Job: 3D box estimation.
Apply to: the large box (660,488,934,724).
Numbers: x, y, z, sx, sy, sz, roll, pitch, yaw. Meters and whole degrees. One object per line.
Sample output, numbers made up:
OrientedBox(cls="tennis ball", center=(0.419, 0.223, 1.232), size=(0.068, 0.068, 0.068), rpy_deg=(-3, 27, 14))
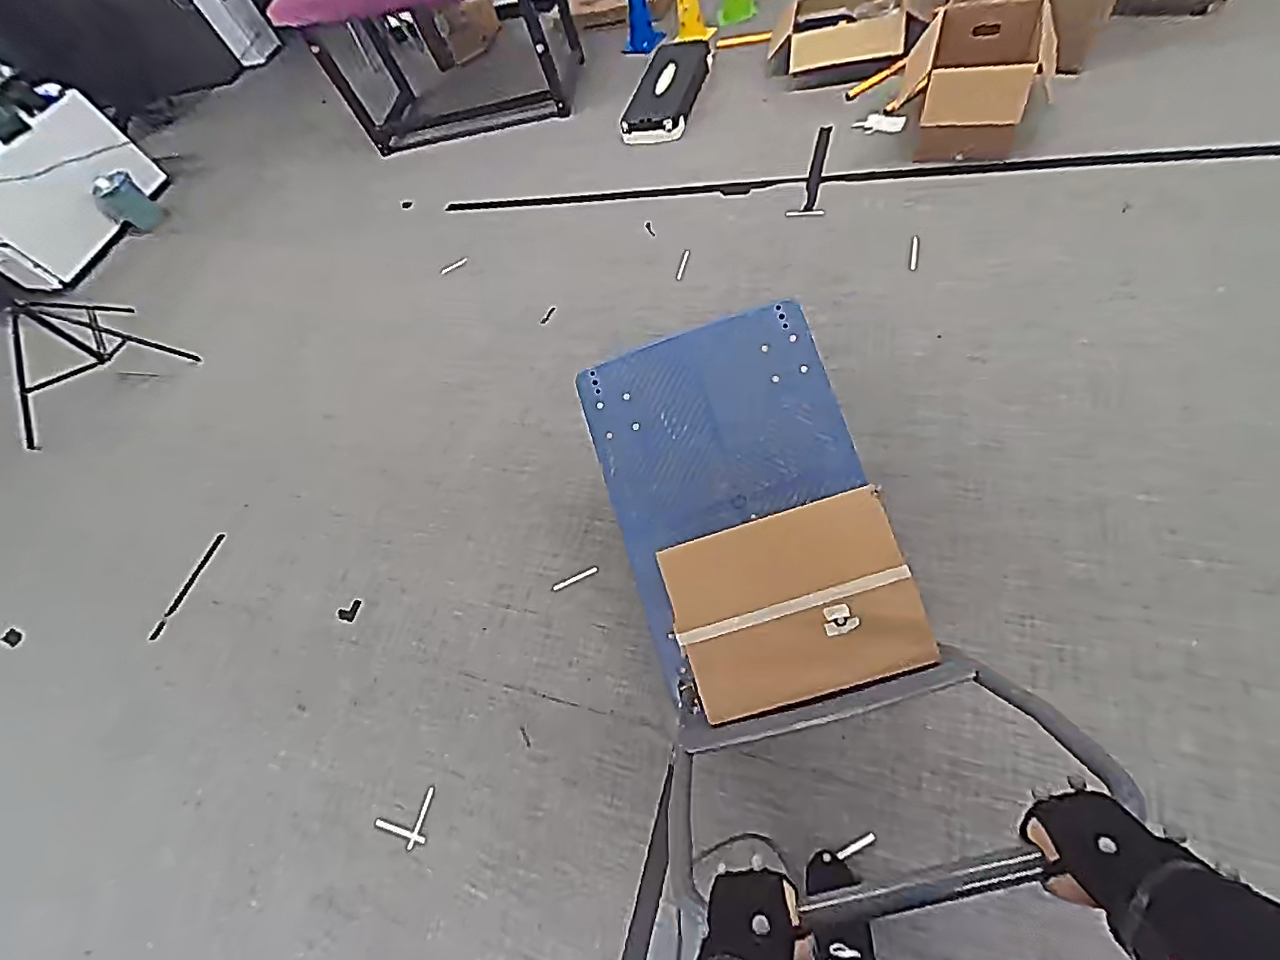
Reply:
OrientedBox(cls="large box", center=(0.285, 0.241, 1.099), size=(0.408, 0.320, 0.320), rpy_deg=(-19, 82, 4))
